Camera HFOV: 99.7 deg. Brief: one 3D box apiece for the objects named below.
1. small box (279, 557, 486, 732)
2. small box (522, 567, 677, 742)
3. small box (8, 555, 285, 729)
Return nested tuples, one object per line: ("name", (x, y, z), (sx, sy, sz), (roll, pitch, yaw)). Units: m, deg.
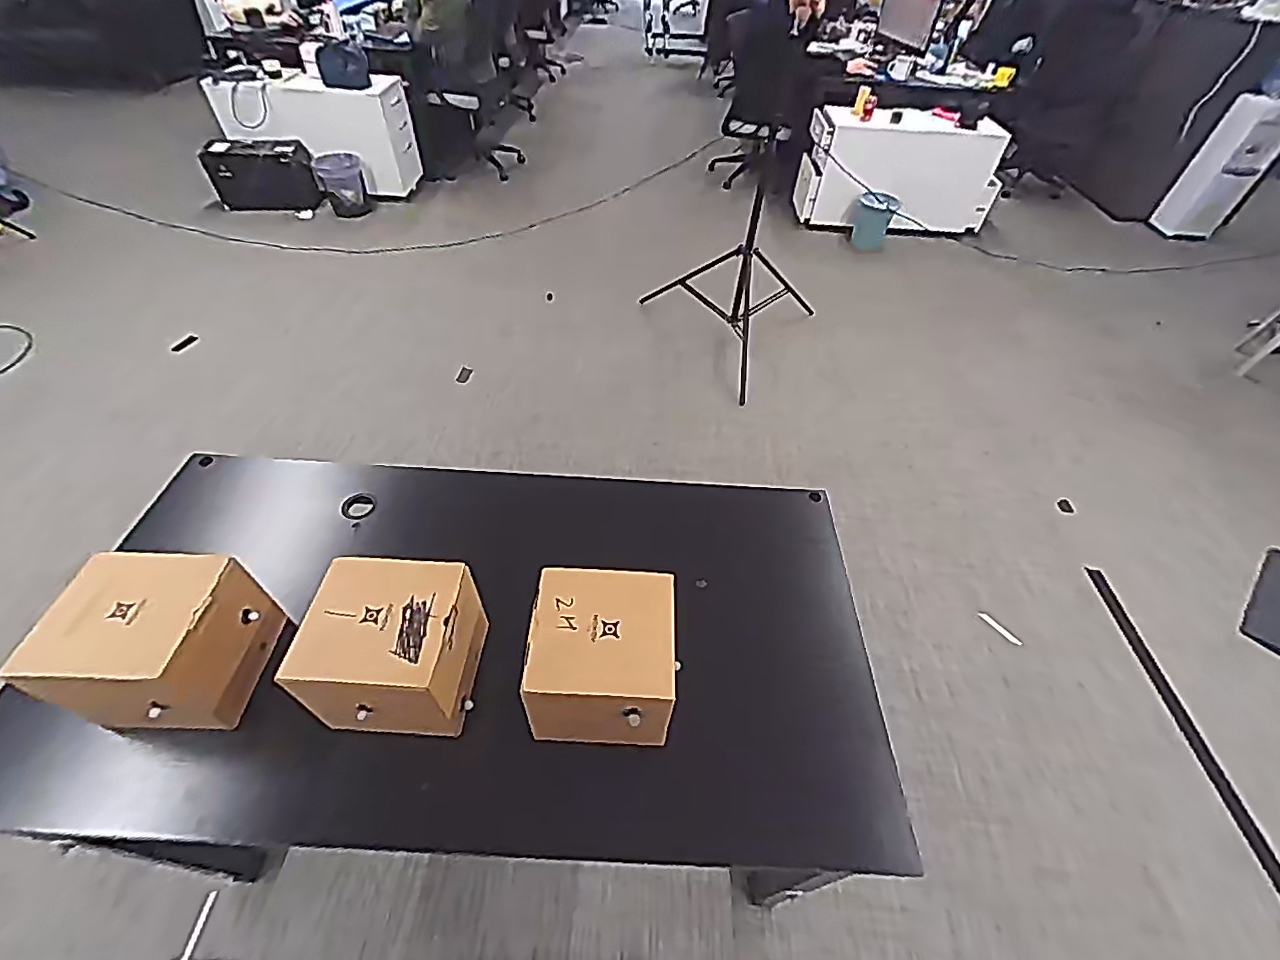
("small box", (-0.317, 0.221, 0.715), (0.179, 0.176, 0.168), (3, 48, 1))
("small box", (-0.046, 0.234, 0.718), (0.179, 0.176, 0.168), (2, 47, 0))
("small box", (-0.612, 0.214, 0.707), (0.179, 0.176, 0.168), (1, 47, -2))
